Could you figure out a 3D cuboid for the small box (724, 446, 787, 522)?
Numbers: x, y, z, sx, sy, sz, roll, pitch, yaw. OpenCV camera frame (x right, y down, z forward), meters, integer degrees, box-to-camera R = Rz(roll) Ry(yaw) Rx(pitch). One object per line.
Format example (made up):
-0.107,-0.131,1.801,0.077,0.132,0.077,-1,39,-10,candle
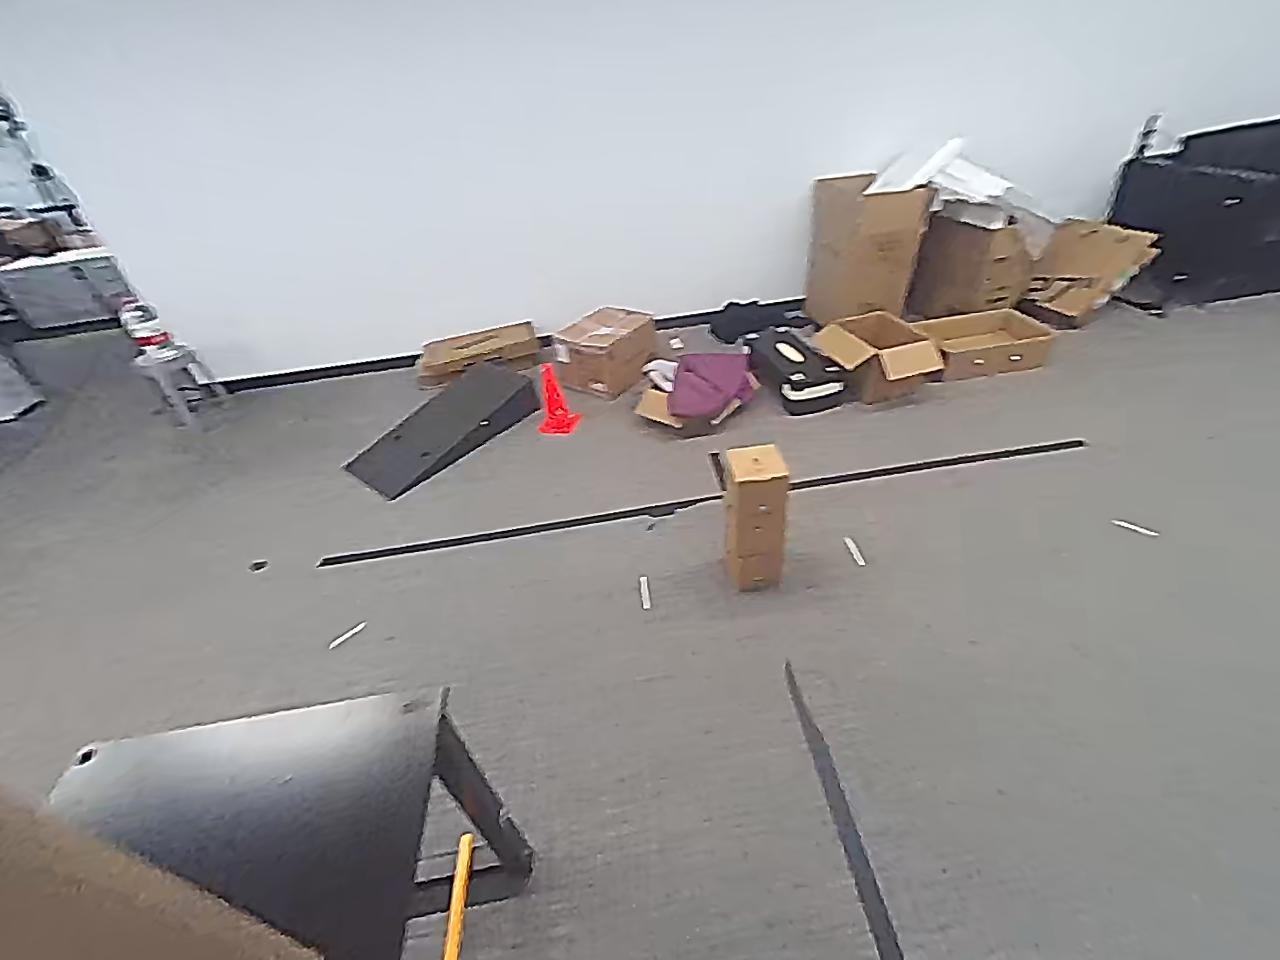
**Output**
0.368,0.012,1.753,0.168,0.176,0.179,-8,38,1,small box

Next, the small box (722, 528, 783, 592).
0.400,0.273,1.951,0.168,0.176,0.179,-12,39,-5,small box

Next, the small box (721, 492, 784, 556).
0.382,0.143,1.851,0.179,0.176,0.168,-9,38,-2,small box
